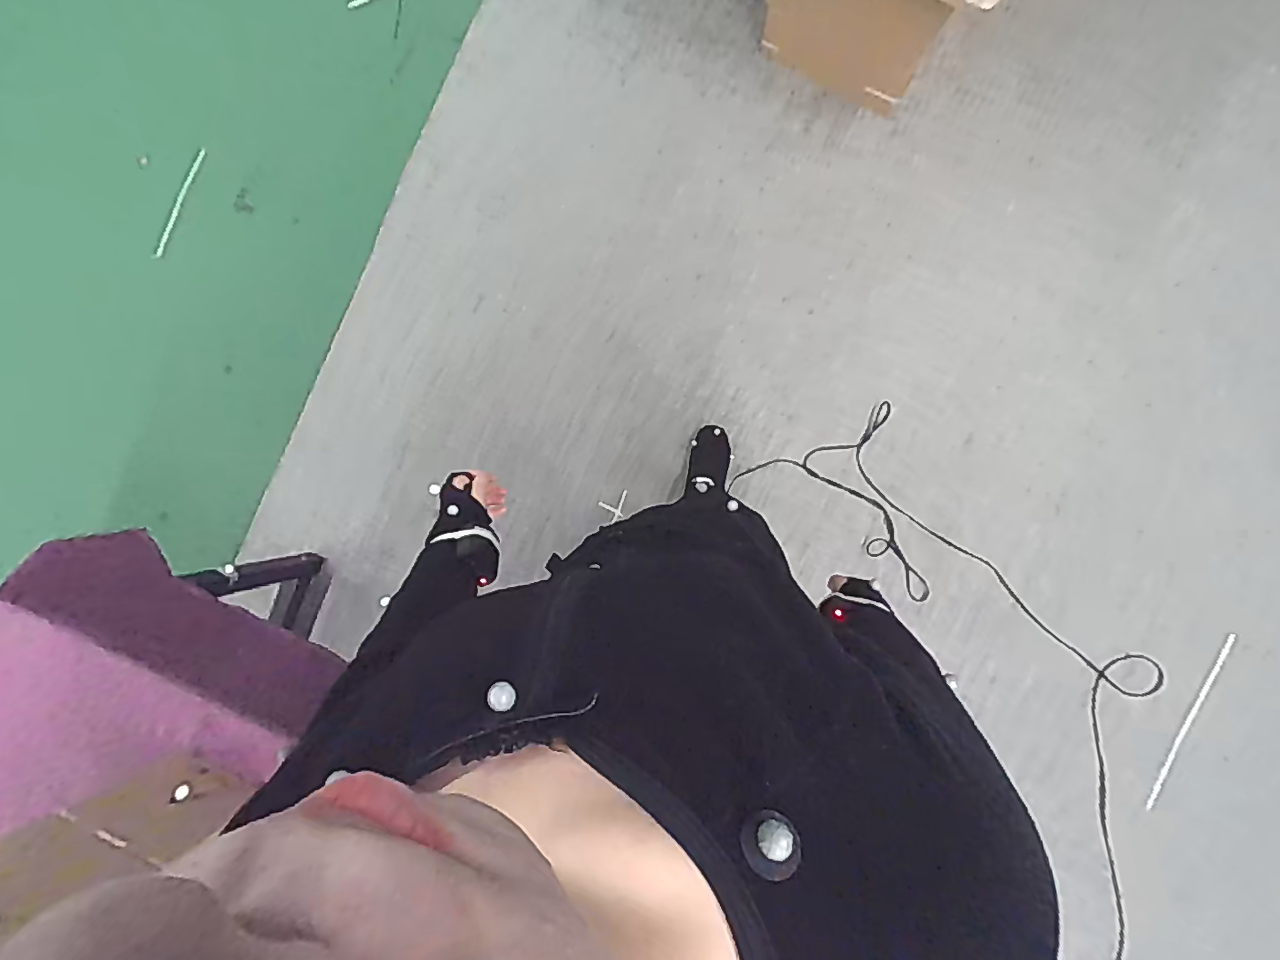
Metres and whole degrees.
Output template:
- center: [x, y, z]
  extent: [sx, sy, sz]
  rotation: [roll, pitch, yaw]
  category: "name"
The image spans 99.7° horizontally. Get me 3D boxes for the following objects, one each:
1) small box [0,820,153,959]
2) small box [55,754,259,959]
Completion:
- center: [-0.707, 0.525, 0.598]
  extent: [0.179, 0.176, 0.168]
  rotation: [22, 92, 5]
  category: "small box"
- center: [-0.689, 0.527, 0.763]
  extent: [0.168, 0.176, 0.179]
  rotation: [22, 91, 6]
  category: "small box"
